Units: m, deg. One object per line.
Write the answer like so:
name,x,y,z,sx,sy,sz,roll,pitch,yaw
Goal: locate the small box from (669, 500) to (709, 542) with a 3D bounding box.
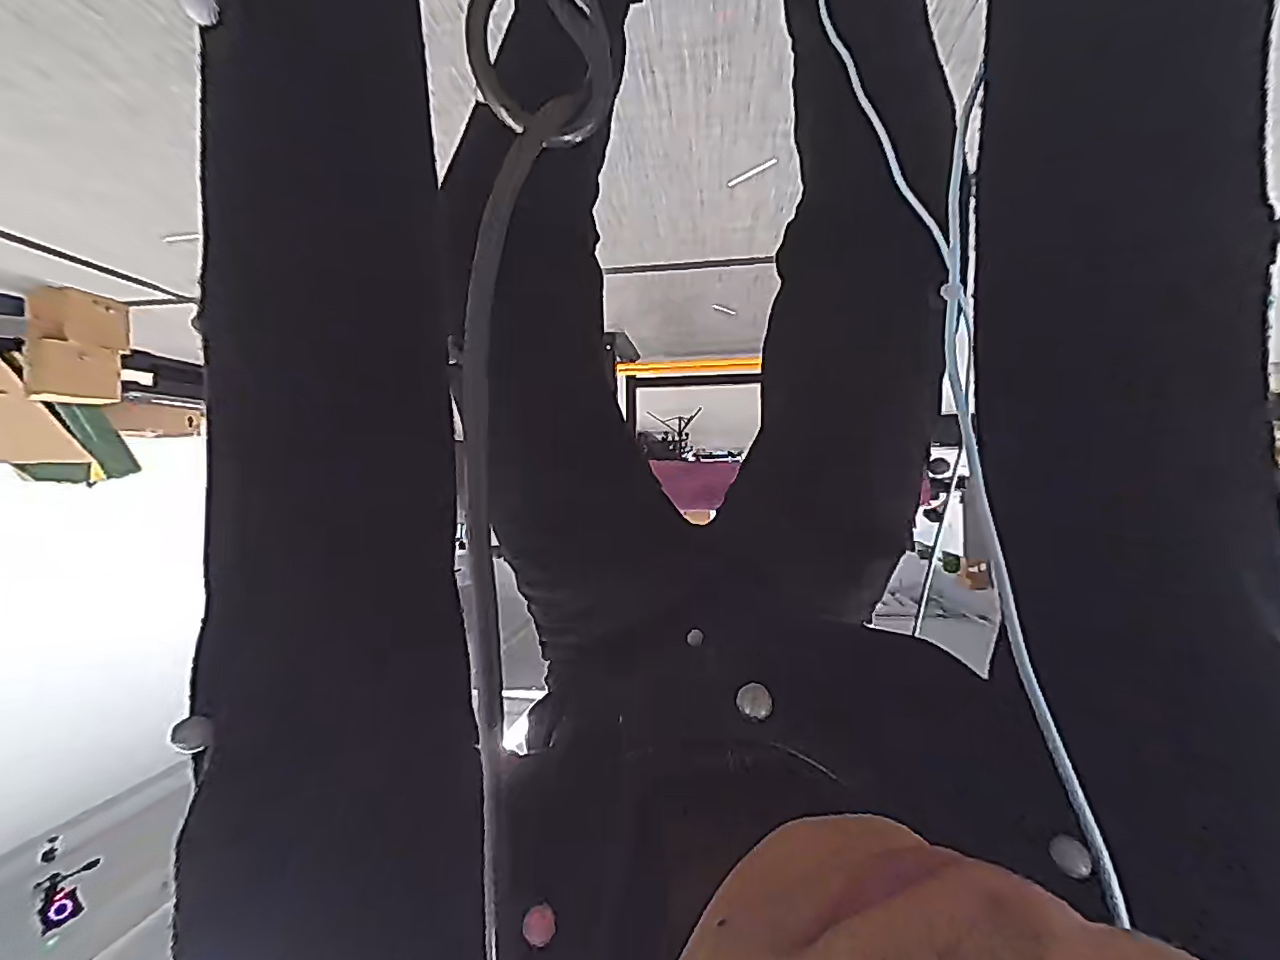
small box,0.216,0.180,2.372,0.168,0.176,0.179,-1,180,7
